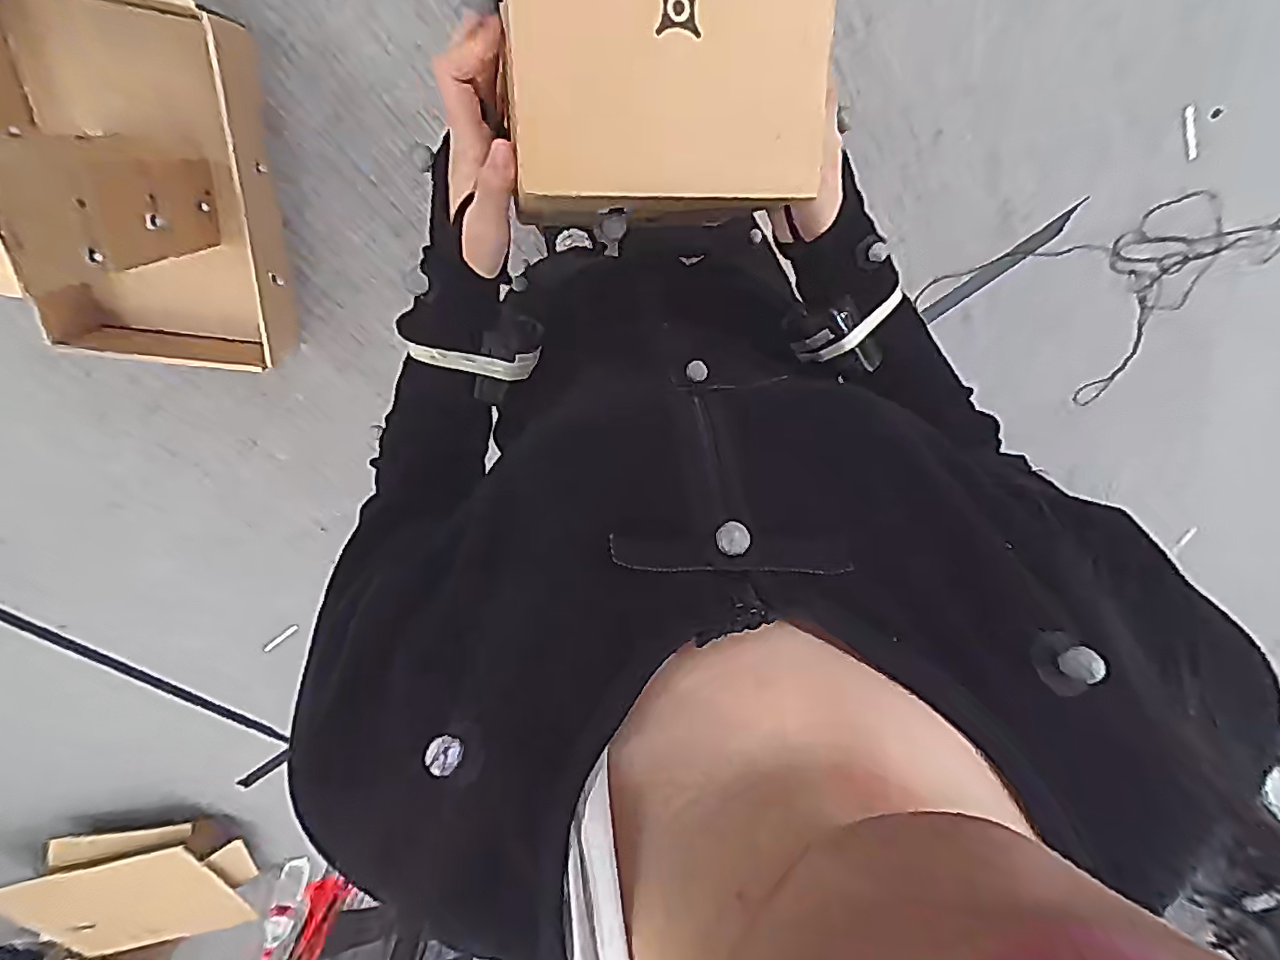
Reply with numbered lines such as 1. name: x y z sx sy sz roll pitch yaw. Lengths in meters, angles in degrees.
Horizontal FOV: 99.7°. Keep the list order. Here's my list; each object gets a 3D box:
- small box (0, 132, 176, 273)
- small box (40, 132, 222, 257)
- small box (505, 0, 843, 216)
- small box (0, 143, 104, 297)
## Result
1. small box: -0.911 -0.449 0.874 0.179 0.176 0.168 5 121 -13
2. small box: -0.933 -0.532 1.012 0.179 0.176 0.168 7 120 -14
3. small box: 0.005 -0.265 0.329 0.168 0.176 0.179 -6 110 -11
4. small box: -0.893 -0.363 0.735 0.179 0.176 0.168 5 120 -11
